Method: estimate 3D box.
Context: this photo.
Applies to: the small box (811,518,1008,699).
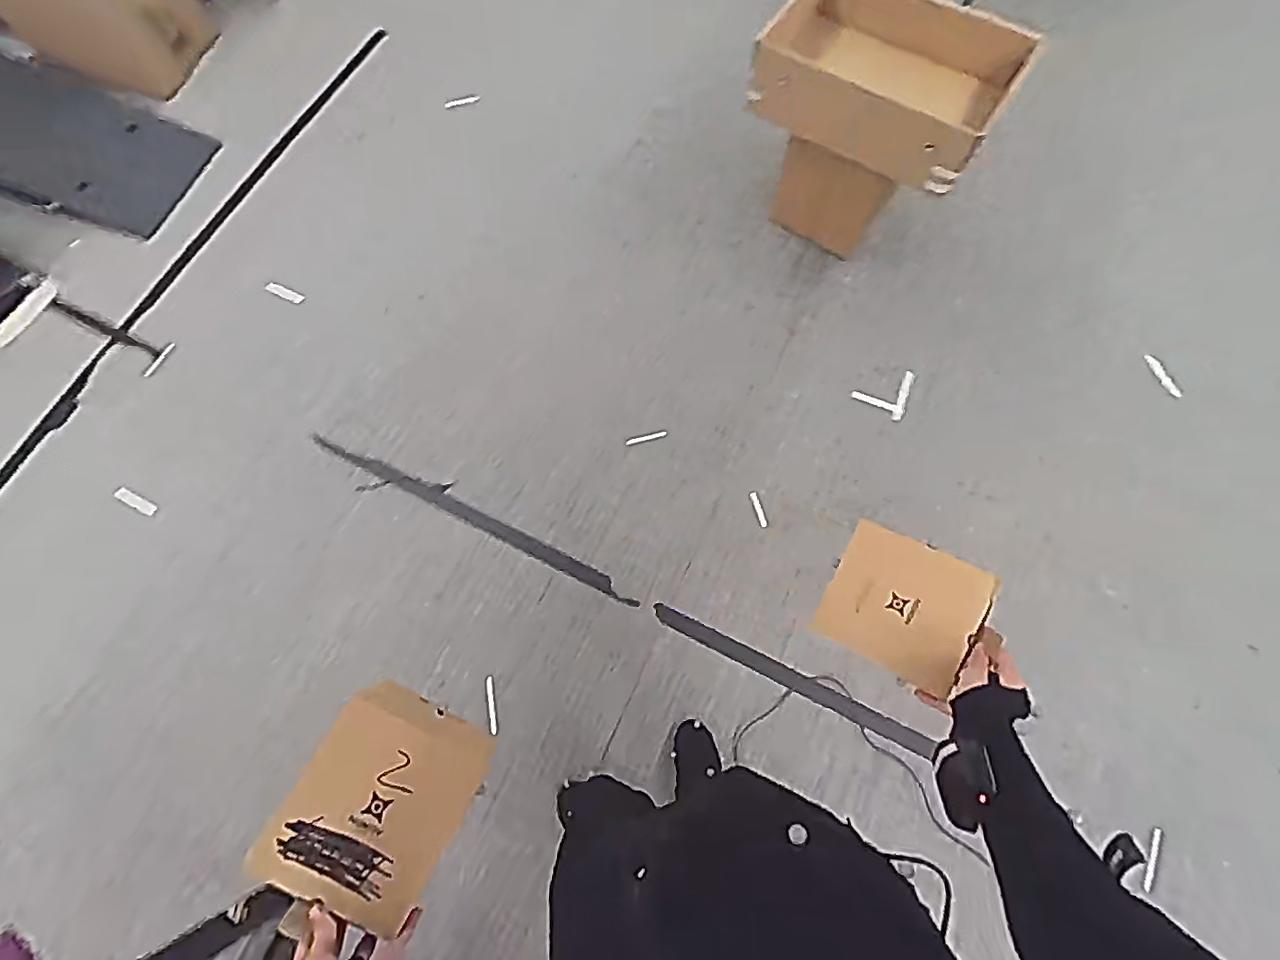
[{"bbox_3d":[0.362,0.170,0.748,0.179,0.176,0.168,27,89,26],"label":"small box"}]
